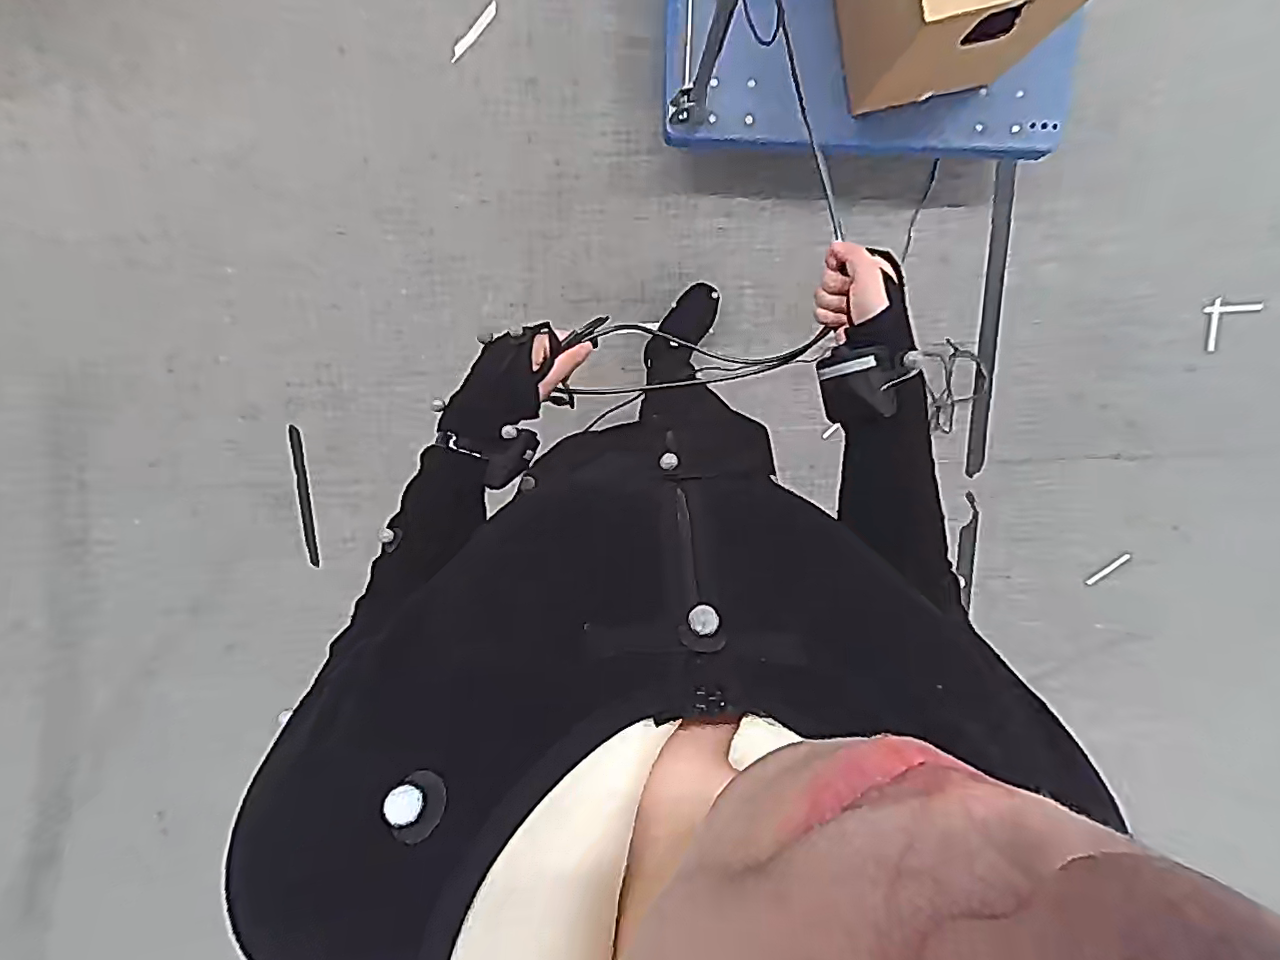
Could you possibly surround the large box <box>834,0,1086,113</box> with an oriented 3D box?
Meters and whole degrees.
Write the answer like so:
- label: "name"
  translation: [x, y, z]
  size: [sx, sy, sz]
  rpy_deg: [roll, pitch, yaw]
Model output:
- label: "large box"
  translation: [0.556, -0.979, 0.975]
  size: [0.320, 0.320, 0.408]
  rpy_deg: [-13, 101, 3]
